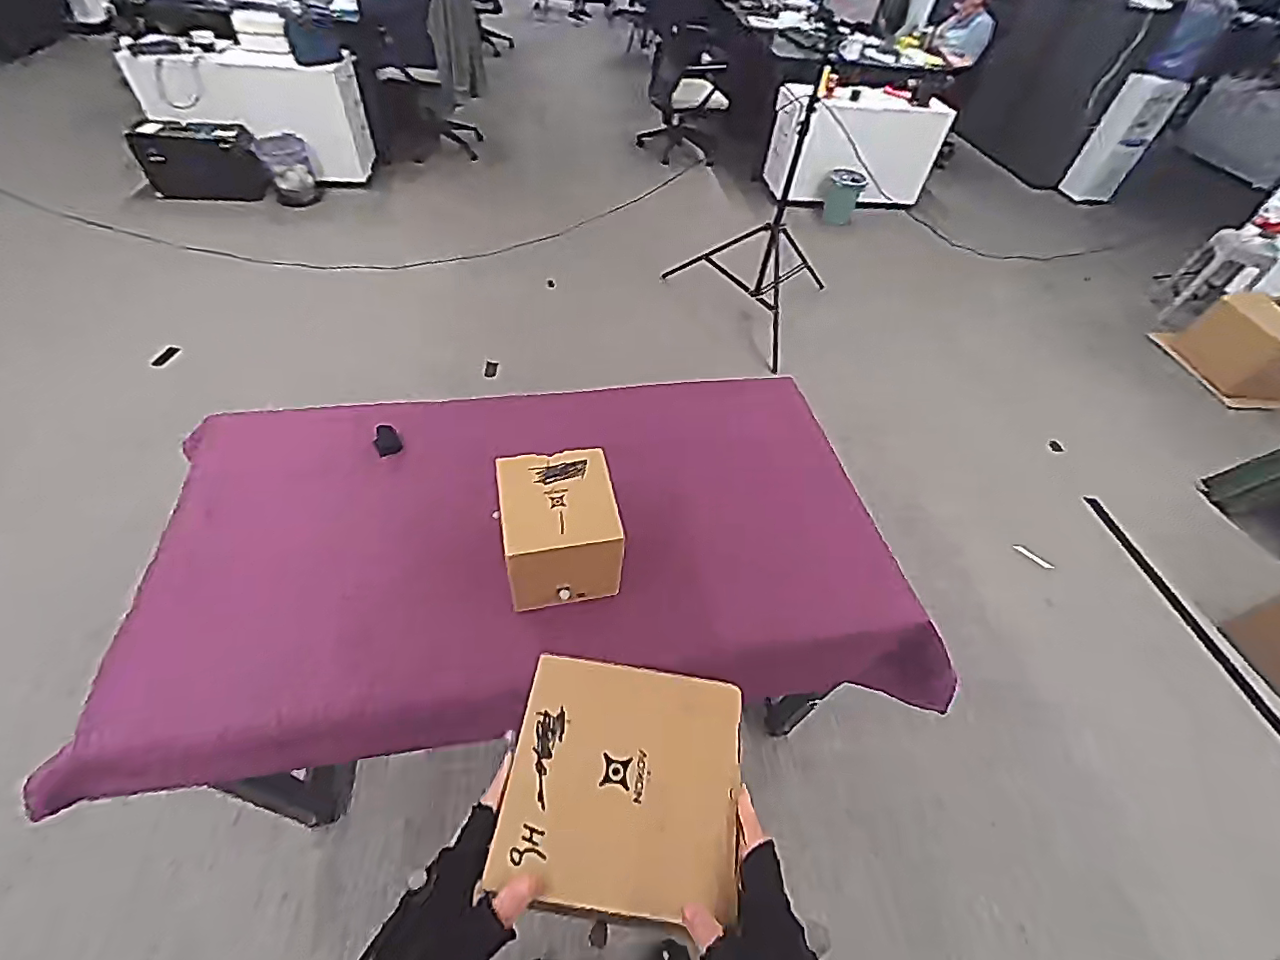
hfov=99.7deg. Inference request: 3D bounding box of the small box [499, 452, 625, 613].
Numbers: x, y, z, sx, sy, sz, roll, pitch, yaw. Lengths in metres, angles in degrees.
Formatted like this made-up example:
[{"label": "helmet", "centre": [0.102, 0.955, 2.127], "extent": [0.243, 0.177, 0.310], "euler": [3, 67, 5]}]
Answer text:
[{"label": "small box", "centre": [-0.126, 0.082, 0.845], "extent": [0.168, 0.176, 0.179], "euler": [-7, 51, -12]}]
